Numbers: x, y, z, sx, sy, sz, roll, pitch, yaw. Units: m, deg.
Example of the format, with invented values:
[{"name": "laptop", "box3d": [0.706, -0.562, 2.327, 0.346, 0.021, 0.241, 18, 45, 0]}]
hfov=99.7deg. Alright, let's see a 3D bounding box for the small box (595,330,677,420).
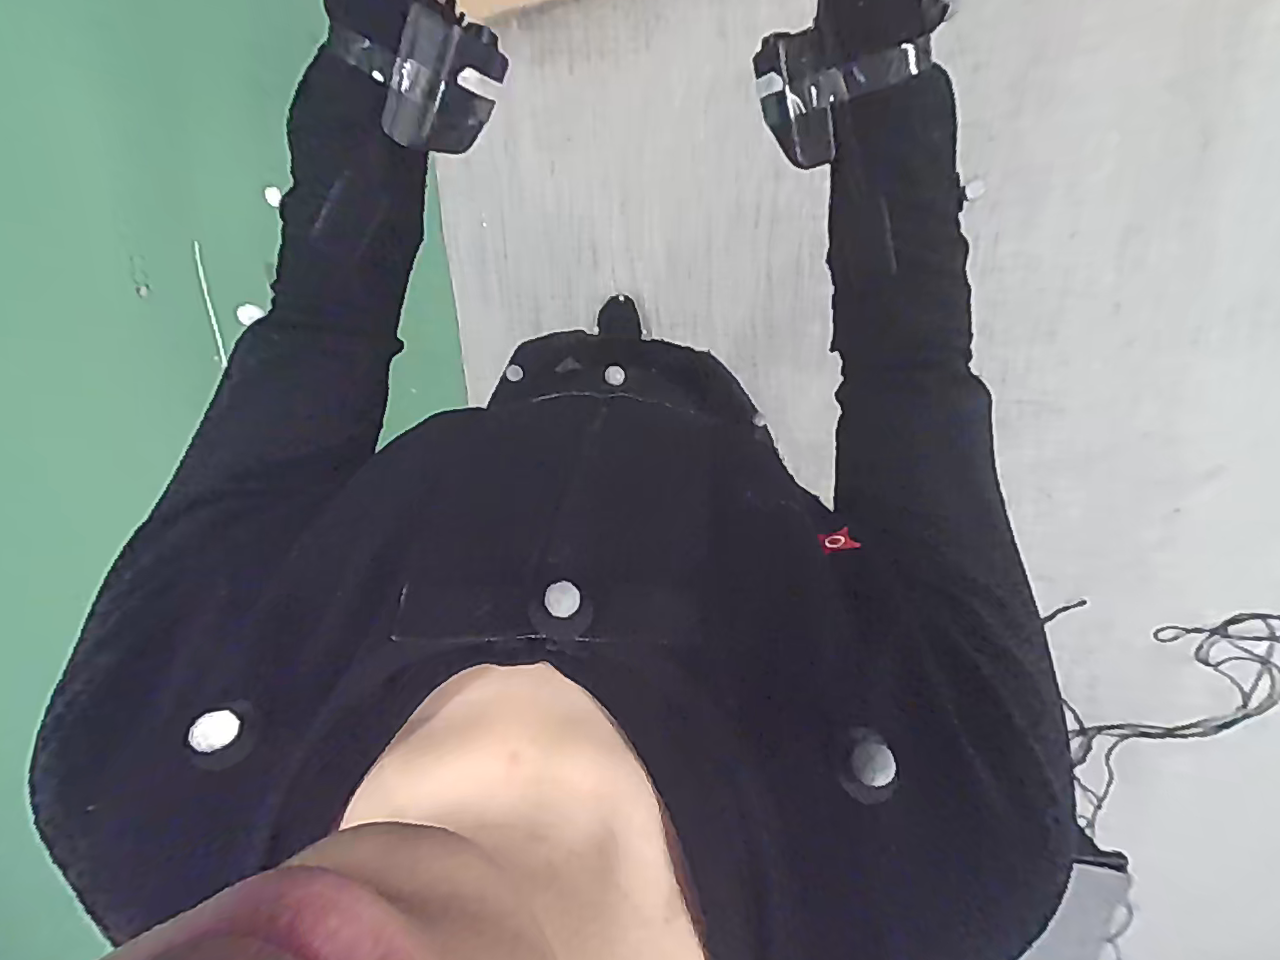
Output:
[{"name": "small box", "box3d": [-0.015, -0.269, 1.361, 0.168, 0.176, 0.179, 11, 109, -9]}]
